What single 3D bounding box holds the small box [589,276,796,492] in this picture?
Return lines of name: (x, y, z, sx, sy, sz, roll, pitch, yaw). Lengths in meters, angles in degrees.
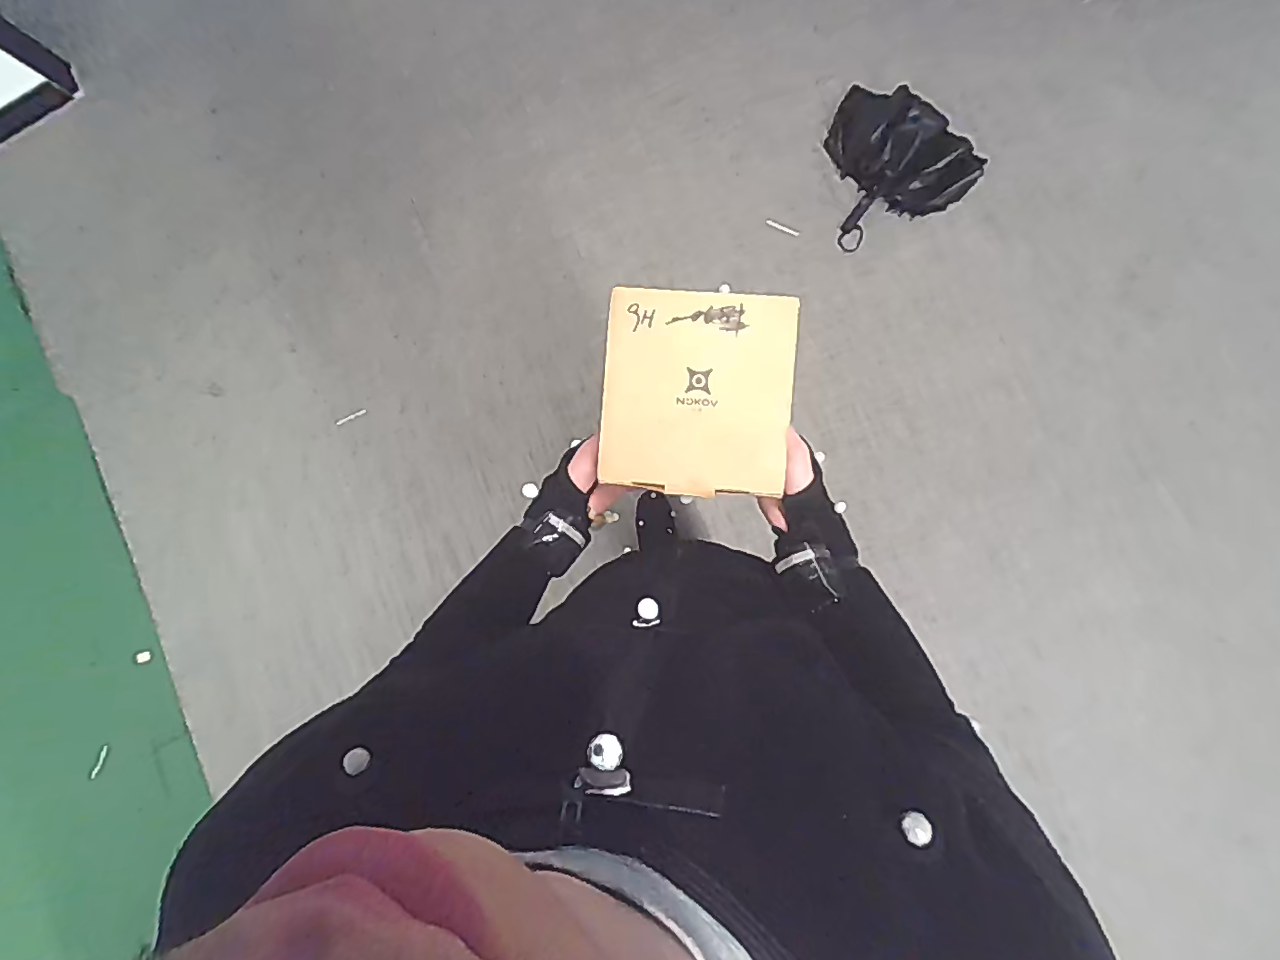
small box: (0.049, -0.085, 0.542, 0.168, 0.176, 0.179, 5, 91, 3)
